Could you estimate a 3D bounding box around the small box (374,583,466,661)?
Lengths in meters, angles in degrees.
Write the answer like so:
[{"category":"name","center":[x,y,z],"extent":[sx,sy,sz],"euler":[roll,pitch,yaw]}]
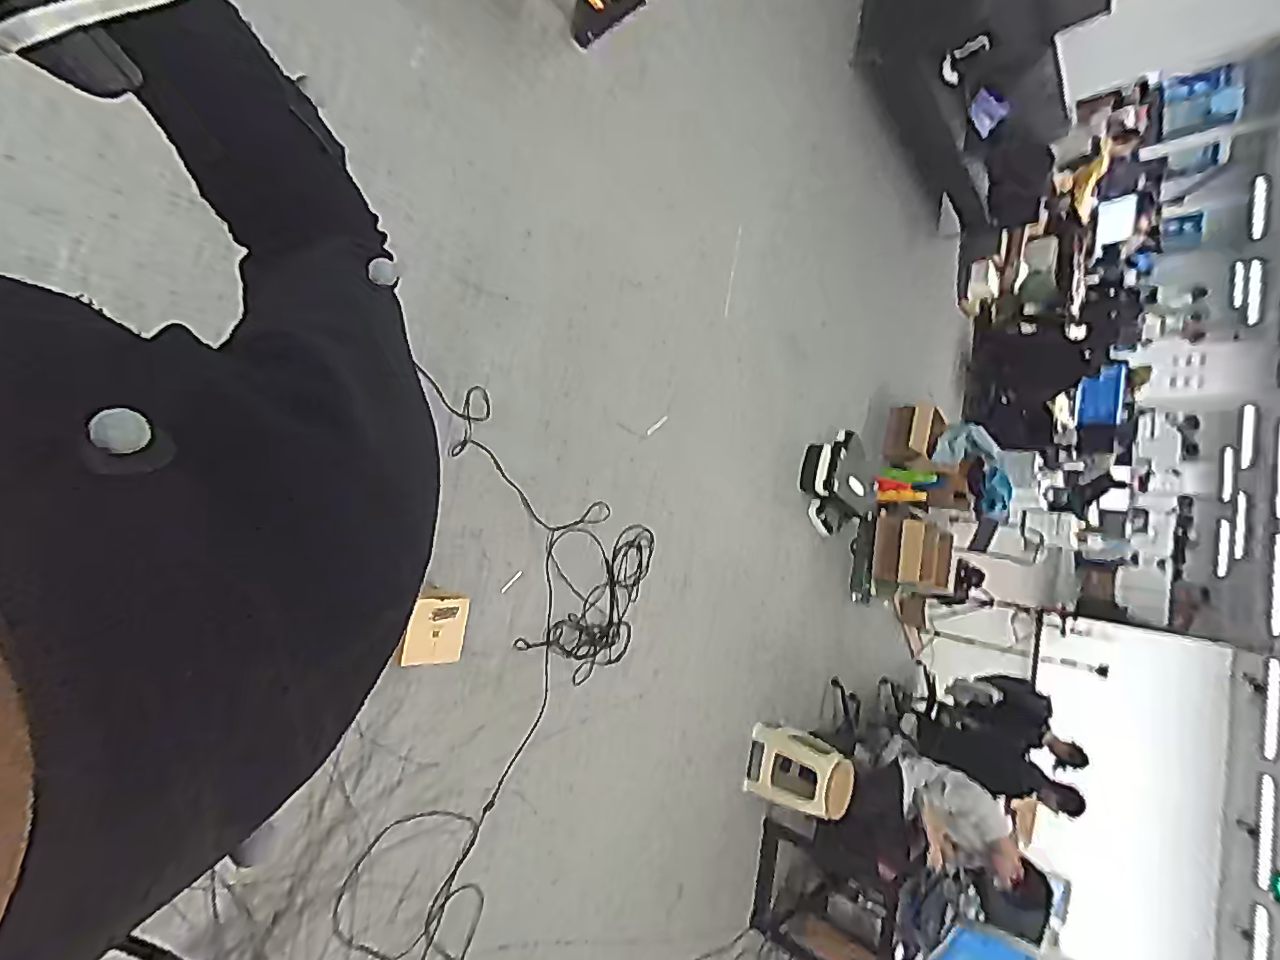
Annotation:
[{"category":"small box","center":[-0.609,0.383,1.490],"extent":[0.168,0.176,0.179],"euler":[13,84,-47]}]
